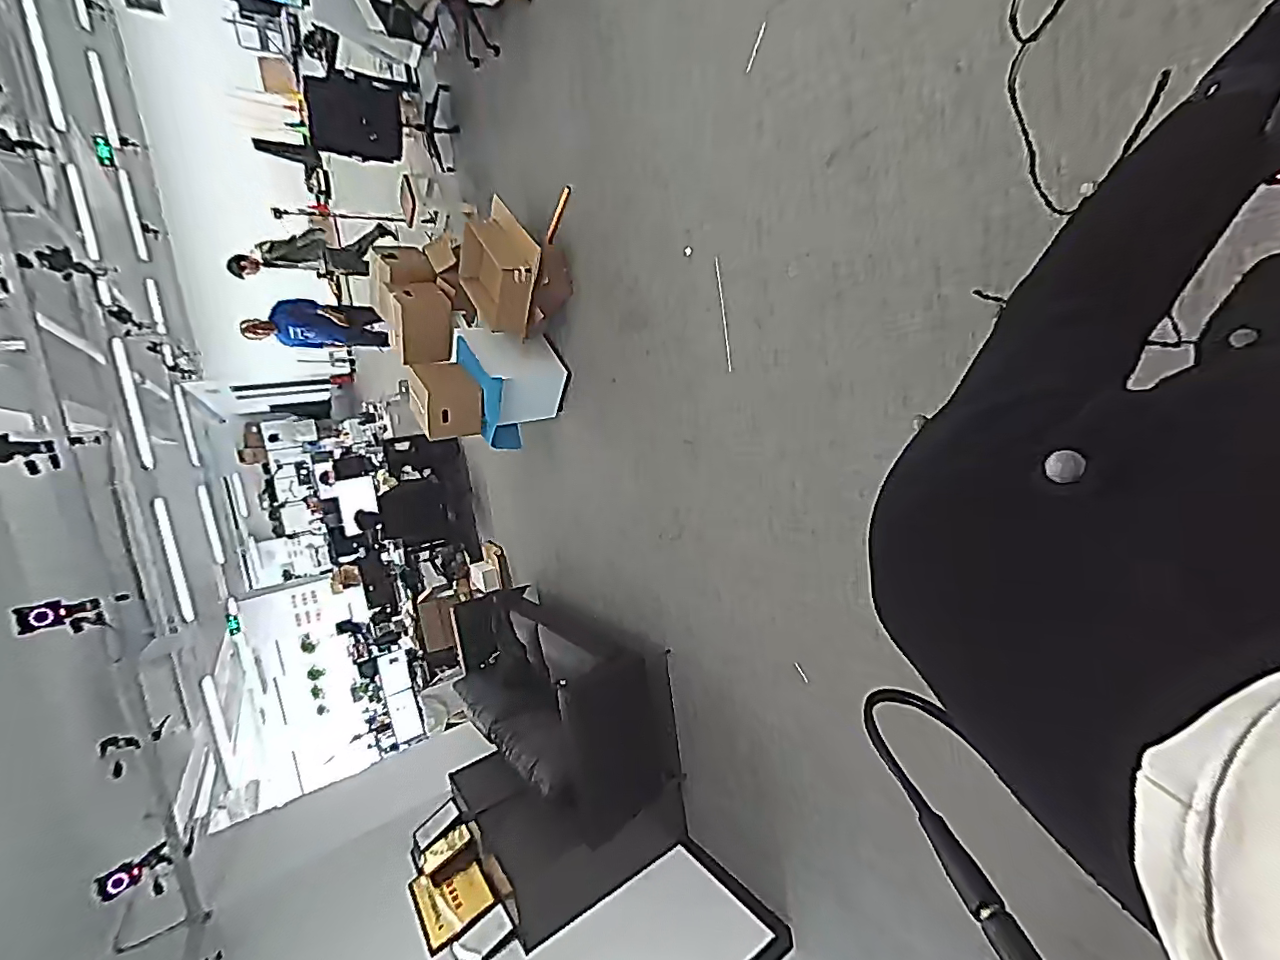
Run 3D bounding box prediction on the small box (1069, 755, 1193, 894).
[{"bbox_3d":[1.097,0.753,1.208,0.179,0.176,0.168,5,105,56],"label":"small box"}]
